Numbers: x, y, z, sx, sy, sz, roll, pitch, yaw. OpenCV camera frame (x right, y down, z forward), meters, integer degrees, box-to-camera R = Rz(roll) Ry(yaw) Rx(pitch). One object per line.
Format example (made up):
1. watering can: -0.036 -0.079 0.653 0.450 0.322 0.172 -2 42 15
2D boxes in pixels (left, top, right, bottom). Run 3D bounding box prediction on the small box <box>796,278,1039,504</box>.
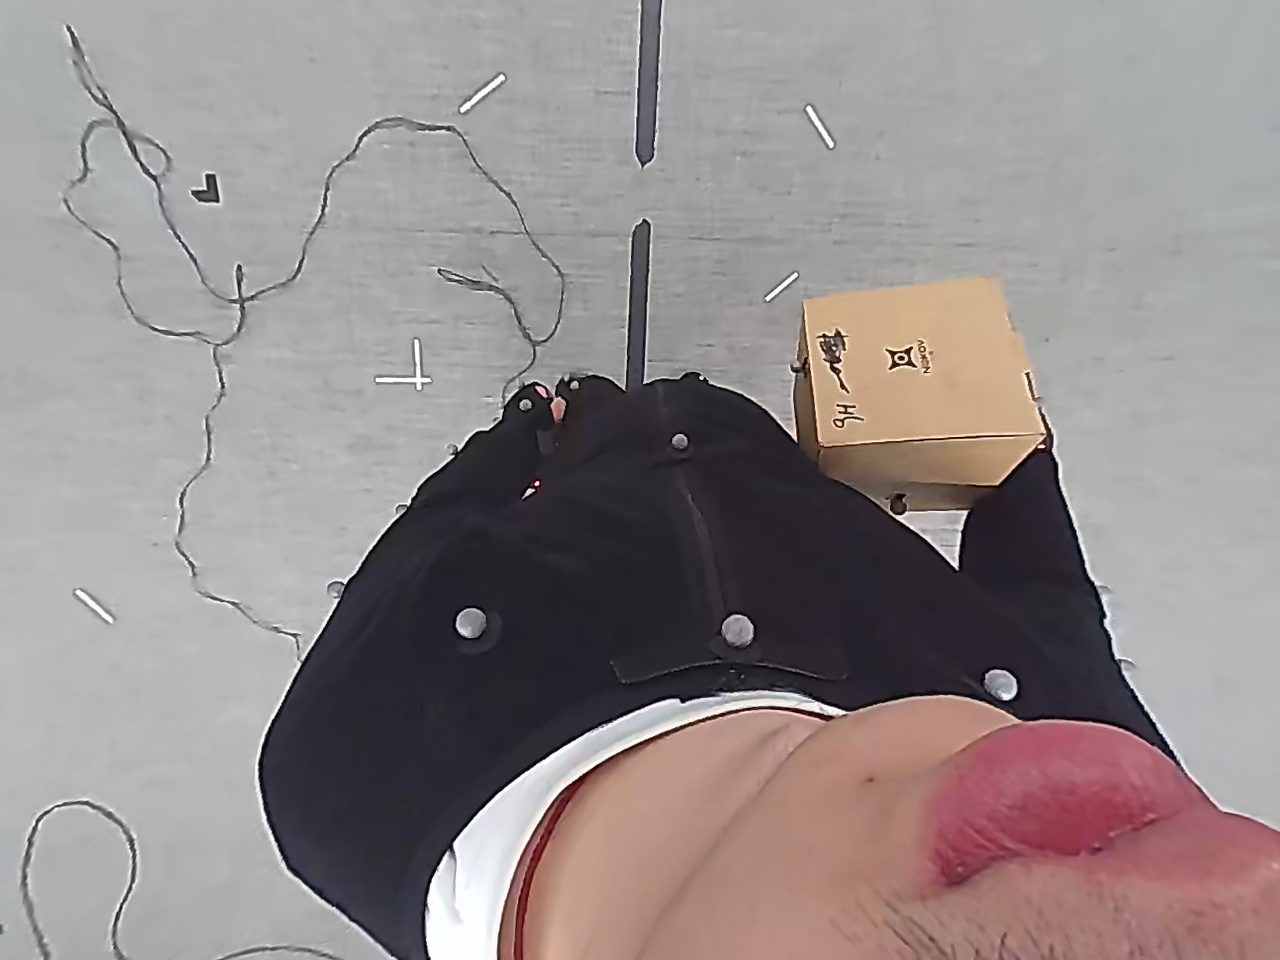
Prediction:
1. small box: 0.263 -0.081 0.562 0.179 0.176 0.168 -2 65 11
